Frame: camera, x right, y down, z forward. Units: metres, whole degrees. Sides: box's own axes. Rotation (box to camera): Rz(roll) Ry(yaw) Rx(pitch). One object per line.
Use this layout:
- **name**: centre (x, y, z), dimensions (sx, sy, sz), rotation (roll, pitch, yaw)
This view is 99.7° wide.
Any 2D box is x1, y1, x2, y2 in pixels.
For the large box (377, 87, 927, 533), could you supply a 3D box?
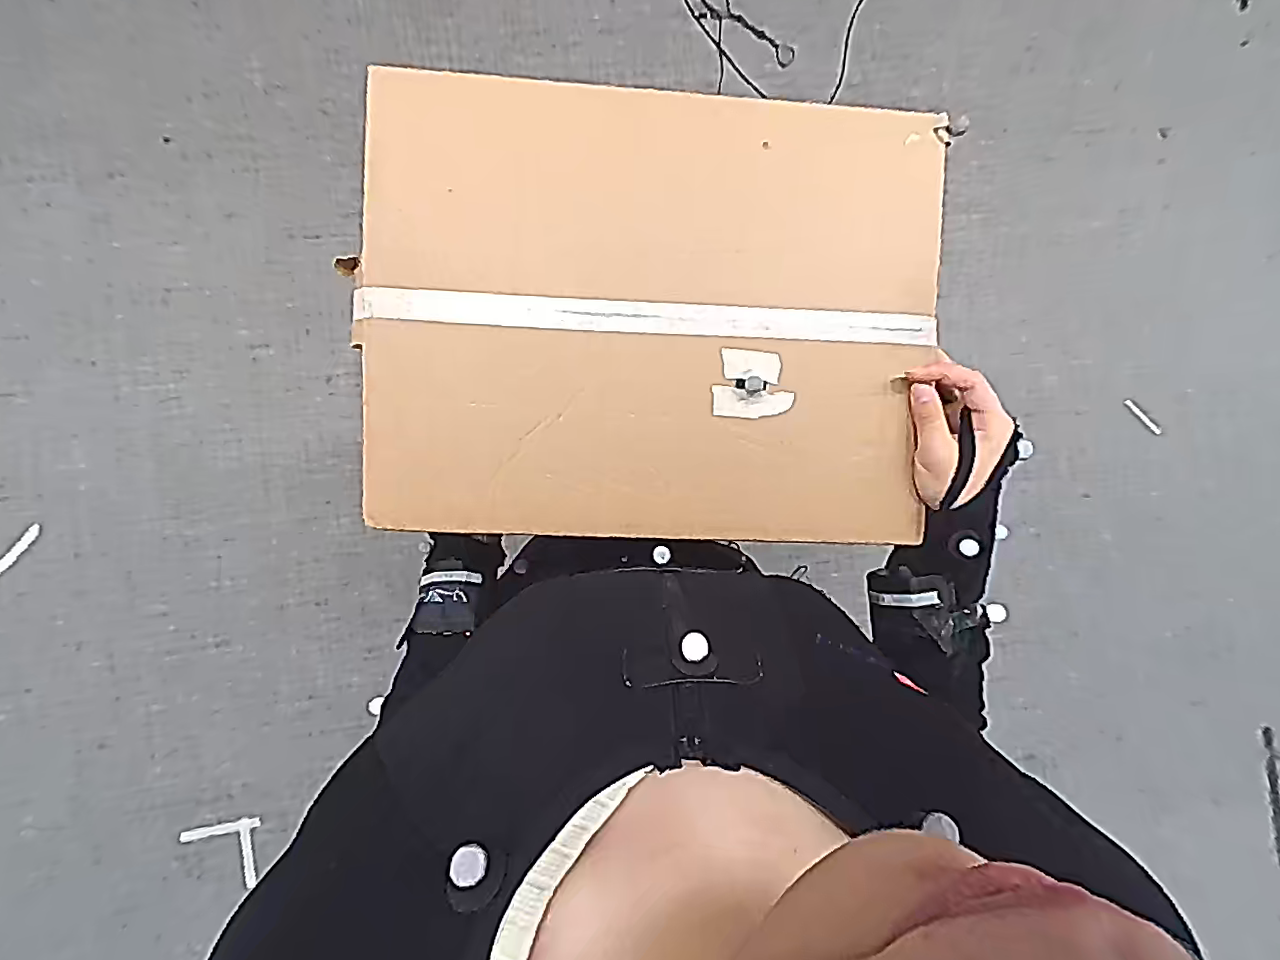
- **large box**: centre (0.001, -0.122, 0.540), dimensions (0.408, 0.320, 0.320), rotation (1, 93, -5)
